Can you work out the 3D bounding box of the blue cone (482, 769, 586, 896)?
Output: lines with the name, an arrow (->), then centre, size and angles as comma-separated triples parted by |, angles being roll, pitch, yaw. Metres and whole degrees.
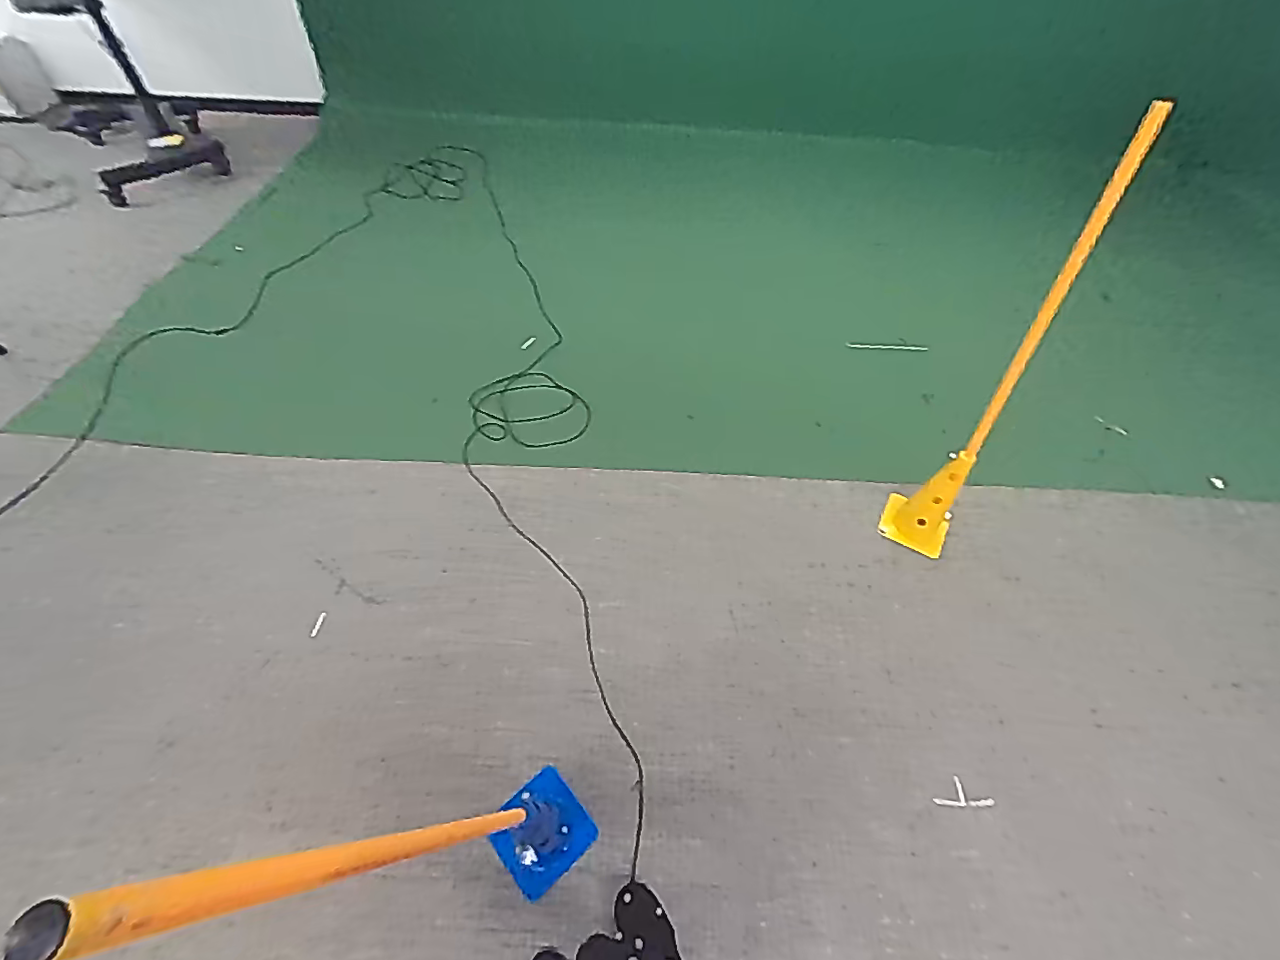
blue cone -> -0.230, 0.695, 1.086 | 0.193, 0.380, 0.192 | -37, 64, -25
